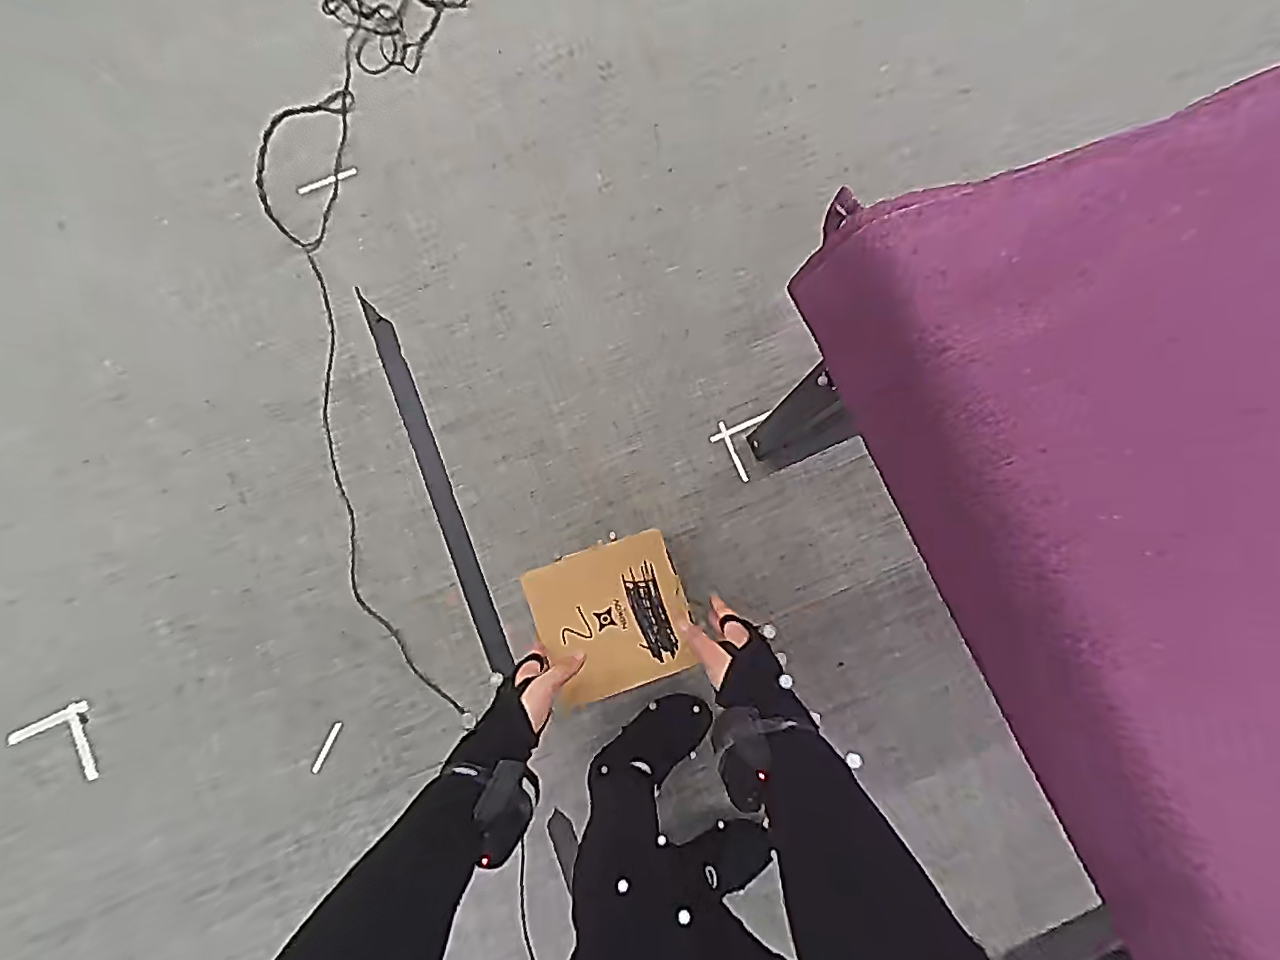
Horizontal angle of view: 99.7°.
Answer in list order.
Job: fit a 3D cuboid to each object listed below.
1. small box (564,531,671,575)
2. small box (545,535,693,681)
[{"bbox_3d":[-0.028,0.202,1.030,0.179,0.176,0.168,-17,84,-1],"label":"small box"},{"bbox_3d":[-0.031,0.192,0.865,0.179,0.176,0.168,-22,84,-1],"label":"small box"}]
